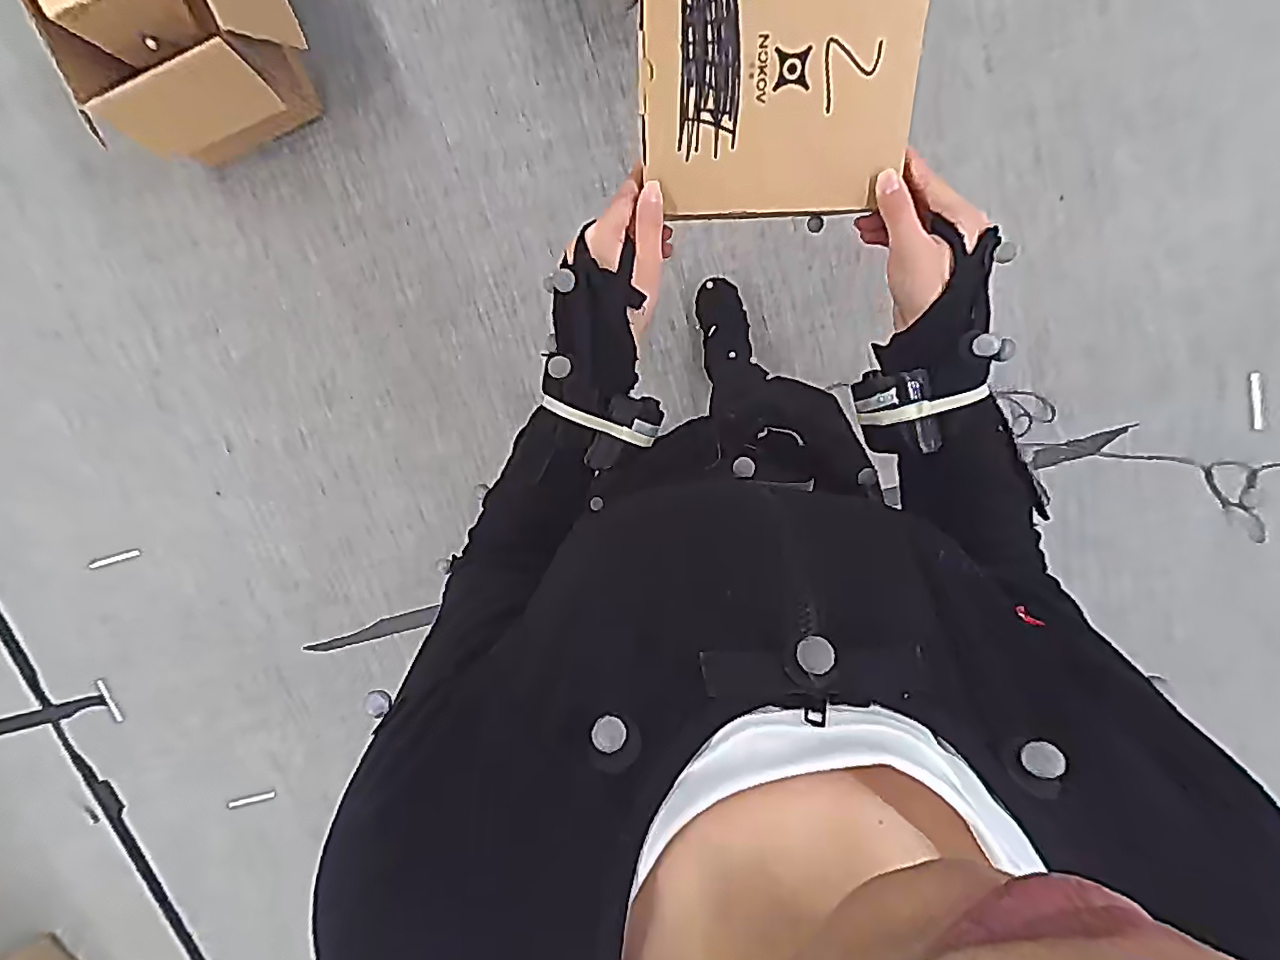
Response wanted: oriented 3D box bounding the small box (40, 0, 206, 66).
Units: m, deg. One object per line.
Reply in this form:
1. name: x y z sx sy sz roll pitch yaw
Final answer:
1. small box: -0.946 -0.902 0.969 0.168 0.176 0.179 -18 101 6
